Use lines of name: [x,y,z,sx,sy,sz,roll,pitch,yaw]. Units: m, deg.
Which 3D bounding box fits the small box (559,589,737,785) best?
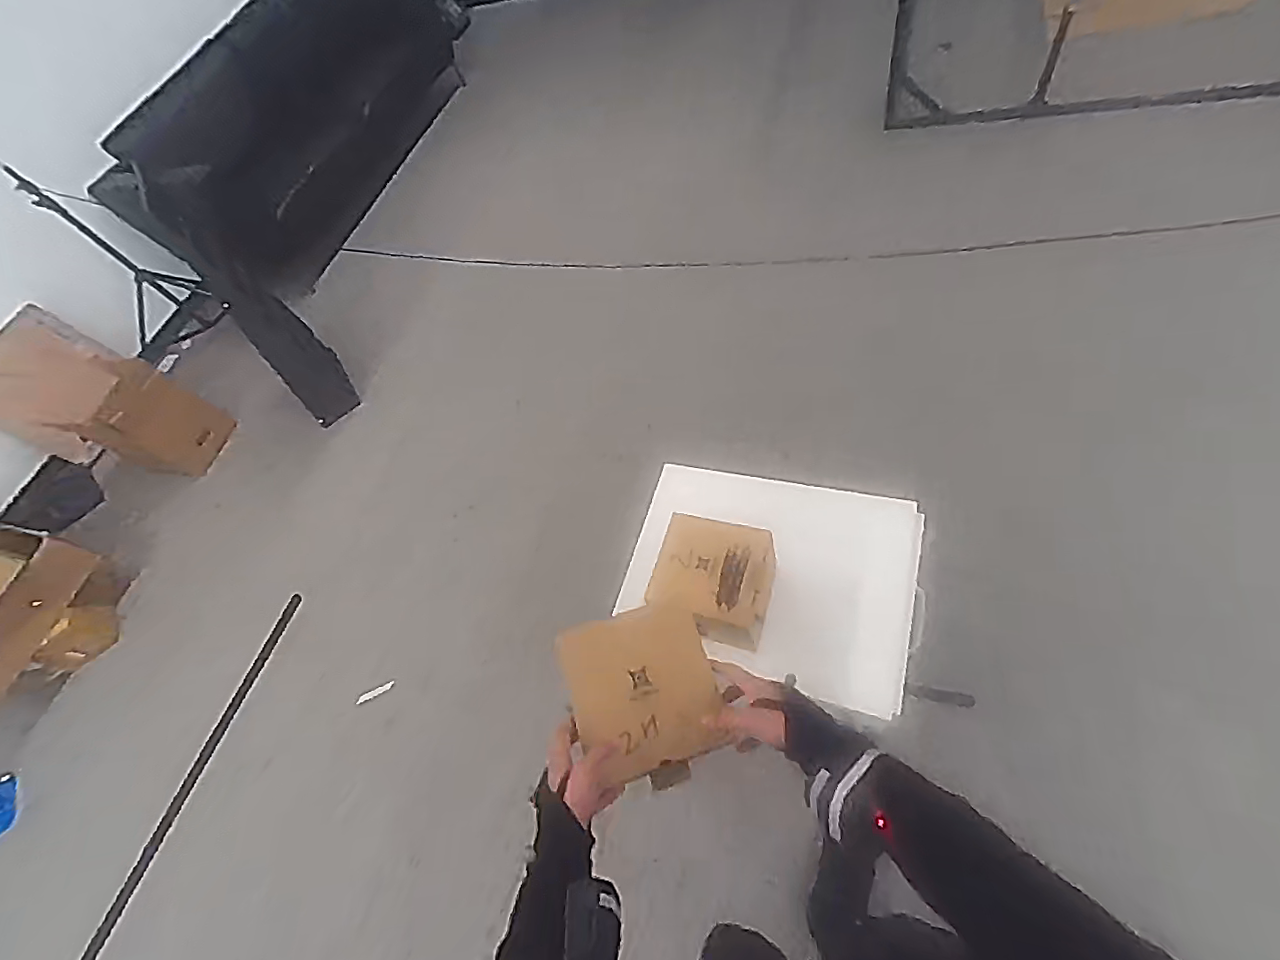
small box: [0.011,0.263,0.687,0.168,0.176,0.179,-19,65,-2]
